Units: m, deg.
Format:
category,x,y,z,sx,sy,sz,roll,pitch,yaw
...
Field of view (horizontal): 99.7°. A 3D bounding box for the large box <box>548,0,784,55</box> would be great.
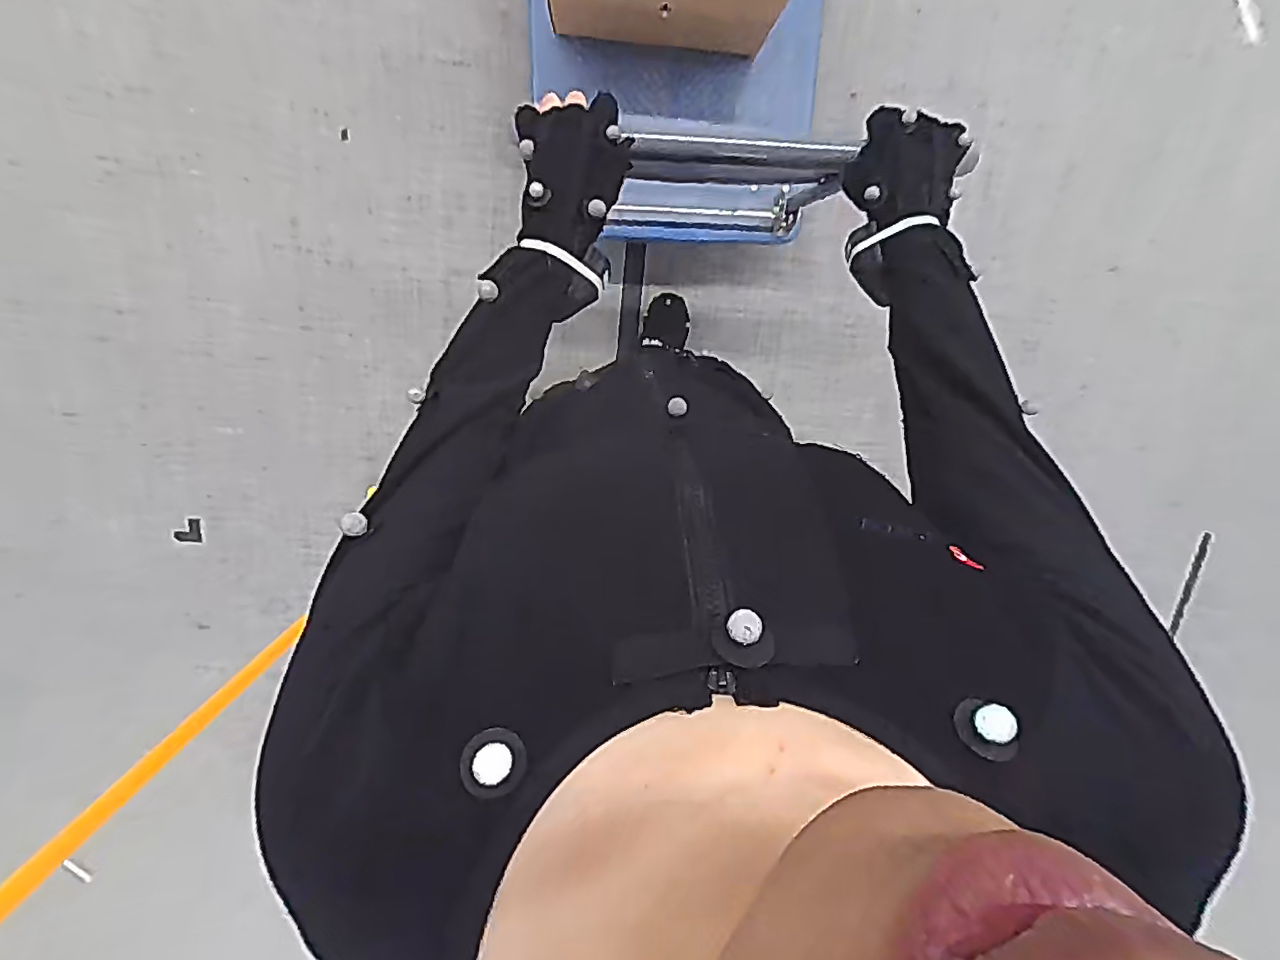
category,x,y,z,sx,sy,sz,roll,pitch,yaw
large box,0.047,-0.963,0.897,0.408,0.320,0.320,2,106,-4
